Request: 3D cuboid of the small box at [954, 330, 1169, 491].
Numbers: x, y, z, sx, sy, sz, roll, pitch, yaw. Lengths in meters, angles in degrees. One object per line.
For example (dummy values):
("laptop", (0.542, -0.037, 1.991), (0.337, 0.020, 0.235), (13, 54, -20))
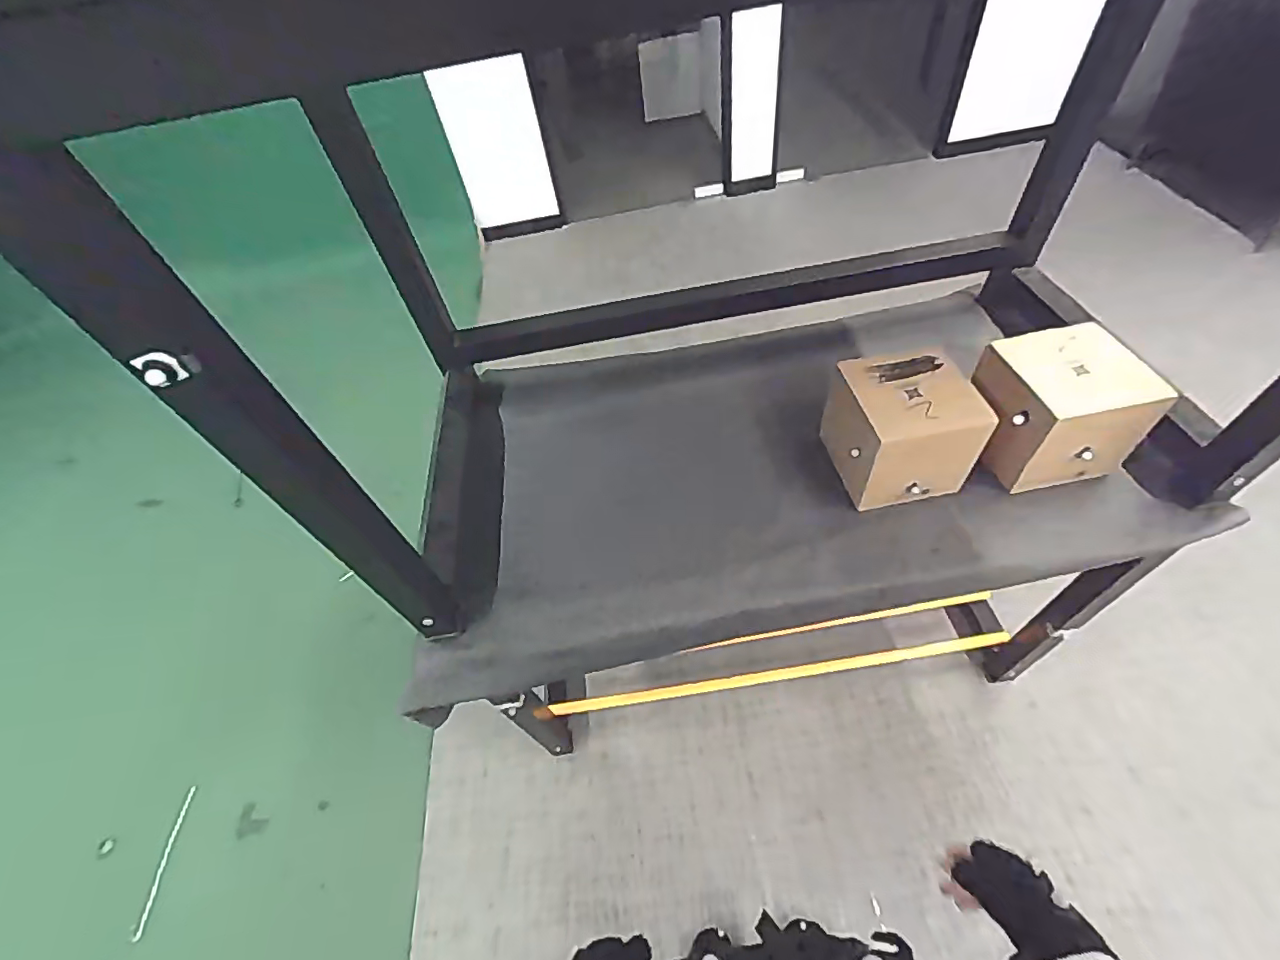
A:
("small box", (0.630, -0.100, 0.839), (0.168, 0.176, 0.179), (-11, 50, 0))
